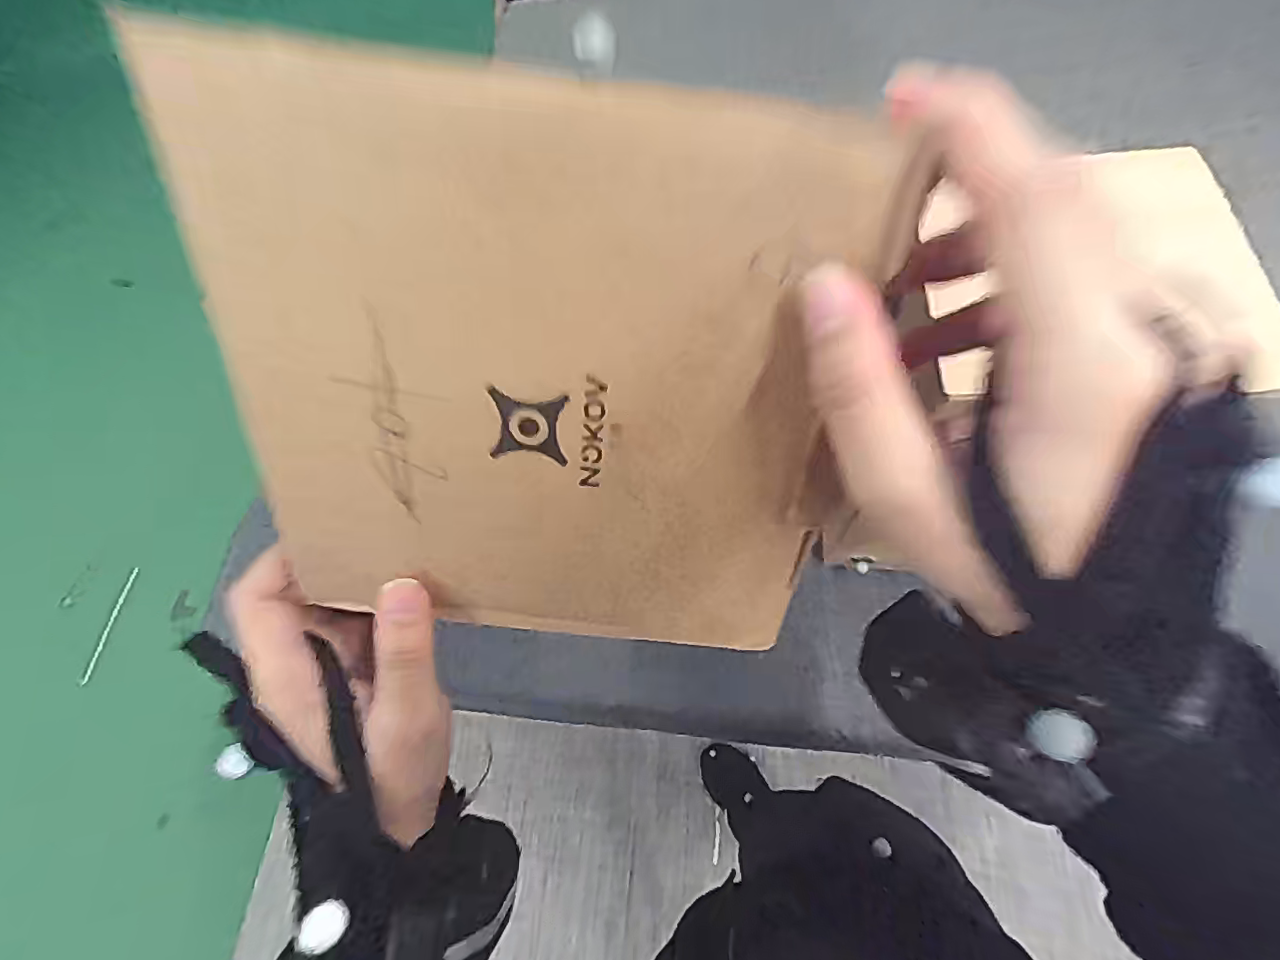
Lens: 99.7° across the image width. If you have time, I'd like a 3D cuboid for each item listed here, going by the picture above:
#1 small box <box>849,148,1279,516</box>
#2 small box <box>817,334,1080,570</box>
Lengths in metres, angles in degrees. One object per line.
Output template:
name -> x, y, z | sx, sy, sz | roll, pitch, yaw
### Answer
small box -> 0.250, -0.088, 0.373 | 0.168, 0.176, 0.179 | 0, 66, 9
small box -> 0.270, -0.019, 0.522 | 0.168, 0.176, 0.179 | 3, 66, 9
